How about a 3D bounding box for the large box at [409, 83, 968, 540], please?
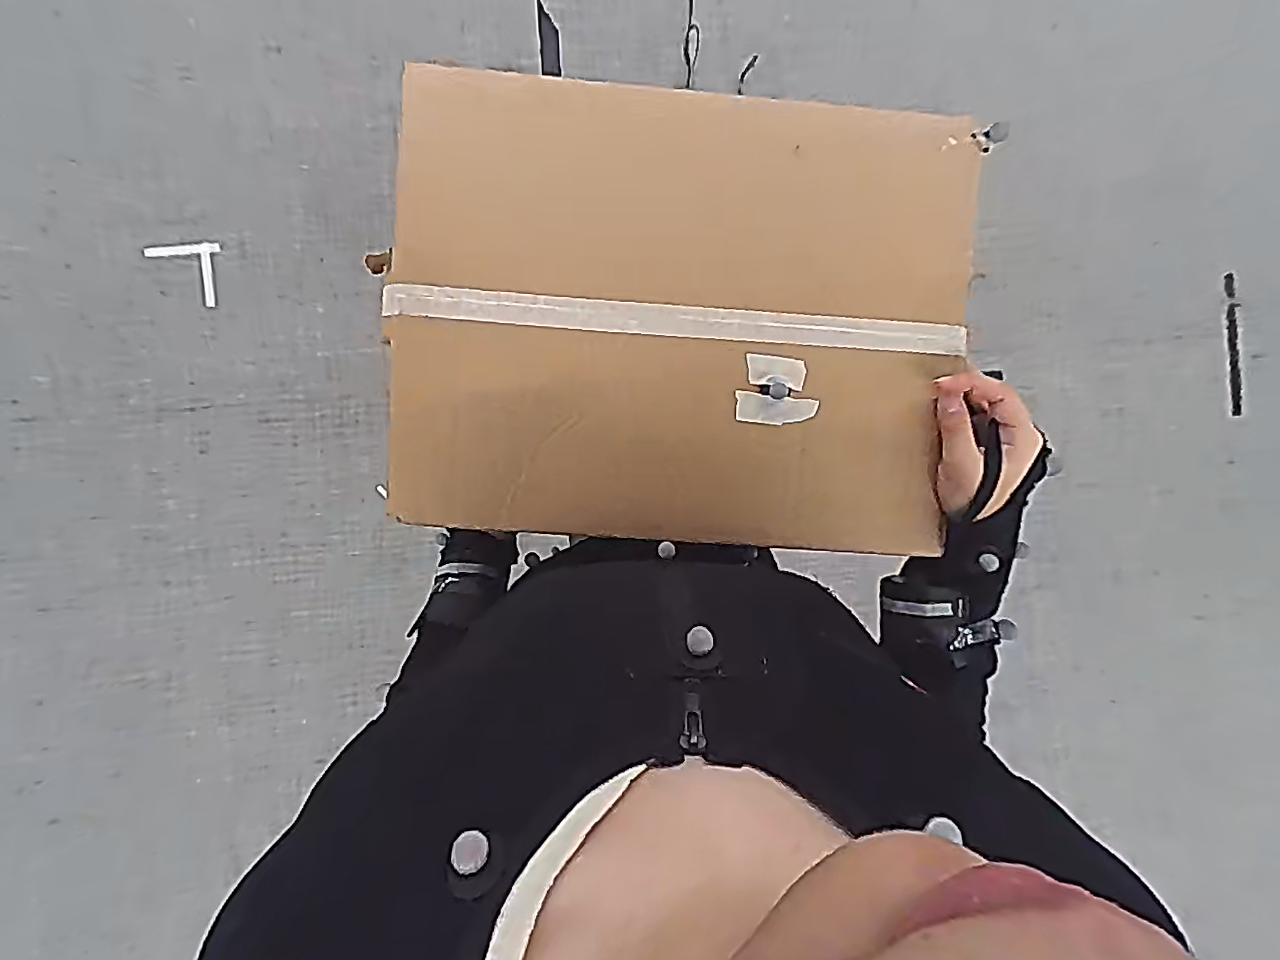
[{"bbox_3d":[0.027,-0.122,0.539,0.408,0.320,0.320,3,94,-4],"label":"large box"}]
